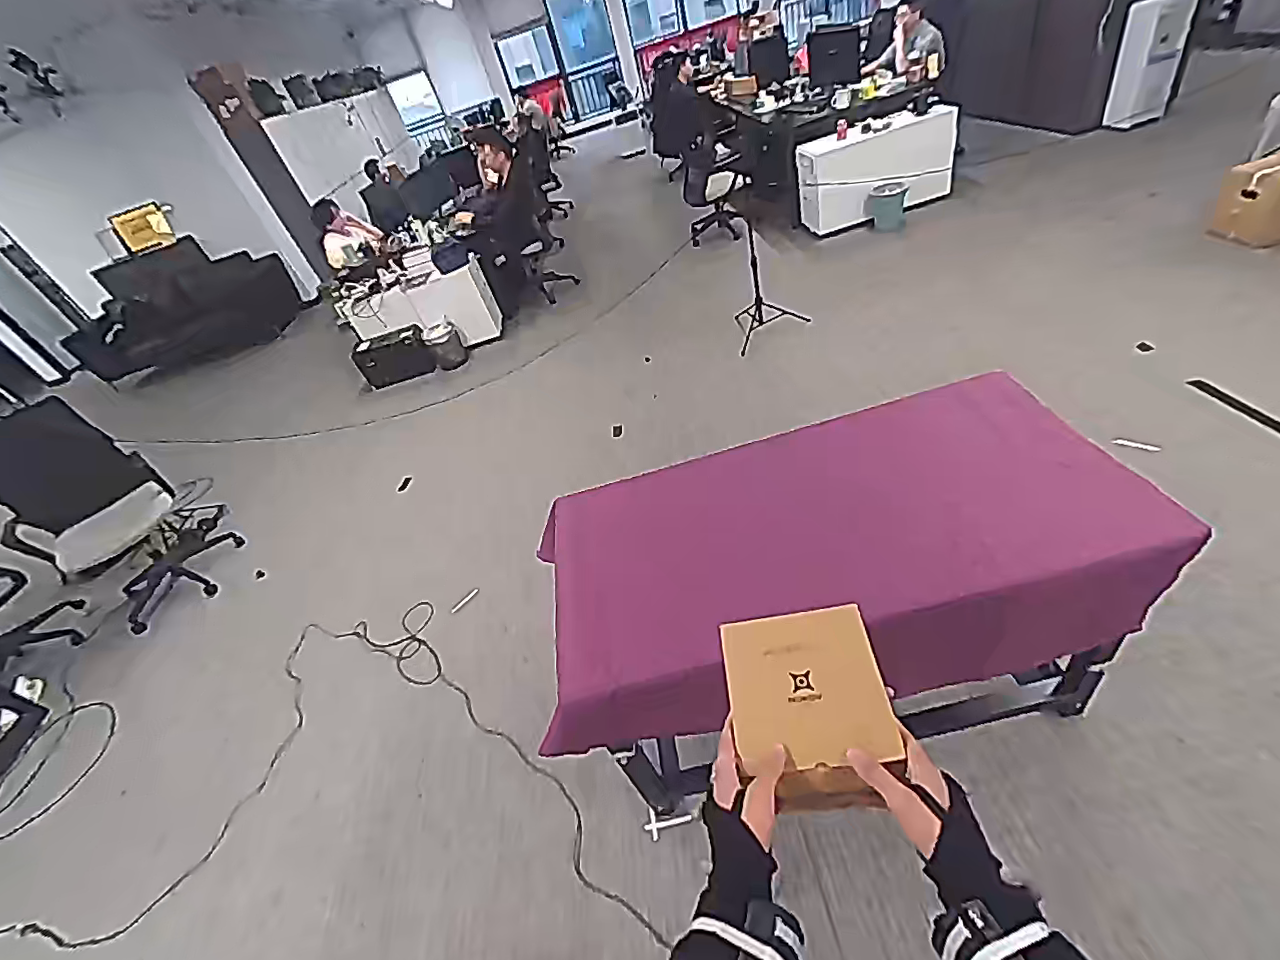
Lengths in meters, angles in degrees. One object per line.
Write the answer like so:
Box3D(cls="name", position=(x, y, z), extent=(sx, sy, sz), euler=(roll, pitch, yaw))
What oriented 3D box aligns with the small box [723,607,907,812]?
Box3D(cls="small box", position=(0.203, 0.280, 0.645), extent=(0.168, 0.176, 0.179), euler=(-12, 45, 11))
